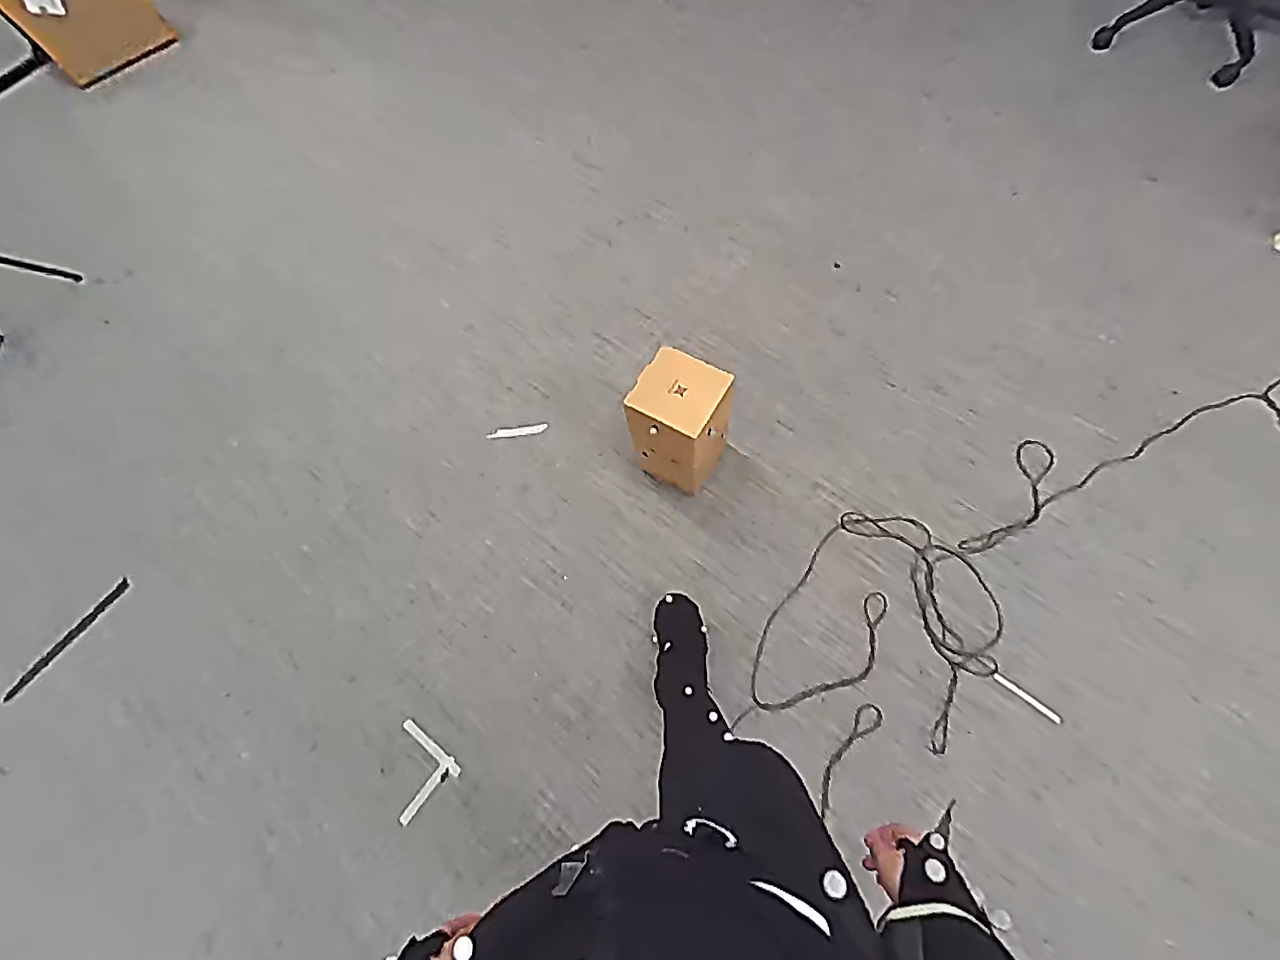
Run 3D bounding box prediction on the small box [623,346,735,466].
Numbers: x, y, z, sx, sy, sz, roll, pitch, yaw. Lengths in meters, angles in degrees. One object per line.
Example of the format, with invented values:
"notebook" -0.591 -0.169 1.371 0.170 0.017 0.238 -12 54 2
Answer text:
"small box" 0.088 -0.152 1.172 0.179 0.176 0.168 28 73 16
